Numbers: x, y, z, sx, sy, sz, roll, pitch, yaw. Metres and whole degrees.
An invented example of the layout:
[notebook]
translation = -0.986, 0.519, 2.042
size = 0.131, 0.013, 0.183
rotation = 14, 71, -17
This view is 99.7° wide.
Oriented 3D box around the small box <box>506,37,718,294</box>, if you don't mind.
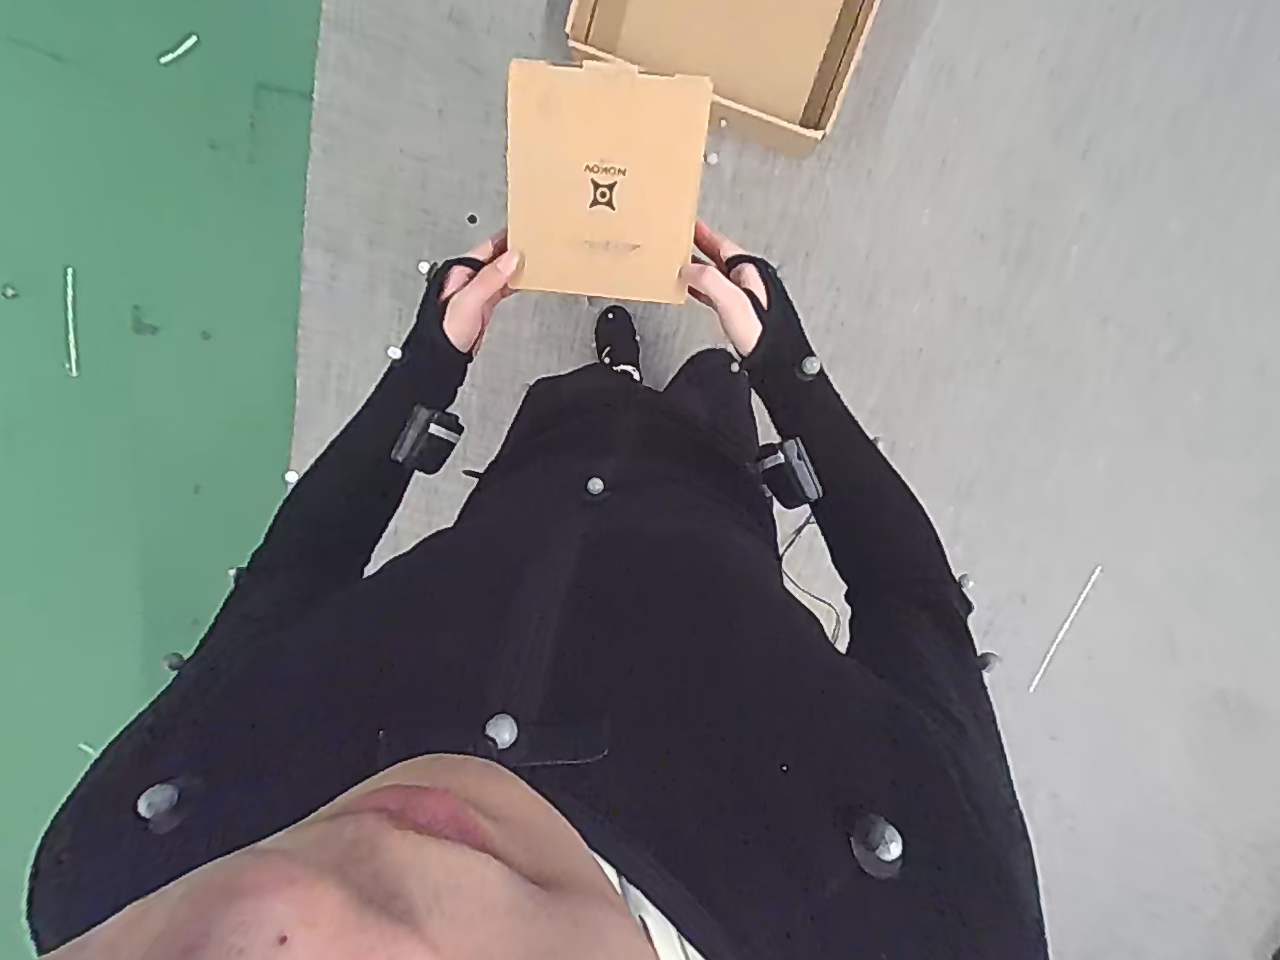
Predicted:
[small box]
translation = -0.026, -0.283, 0.524
size = 0.168, 0.176, 0.179
rotation = 6, 112, 0
